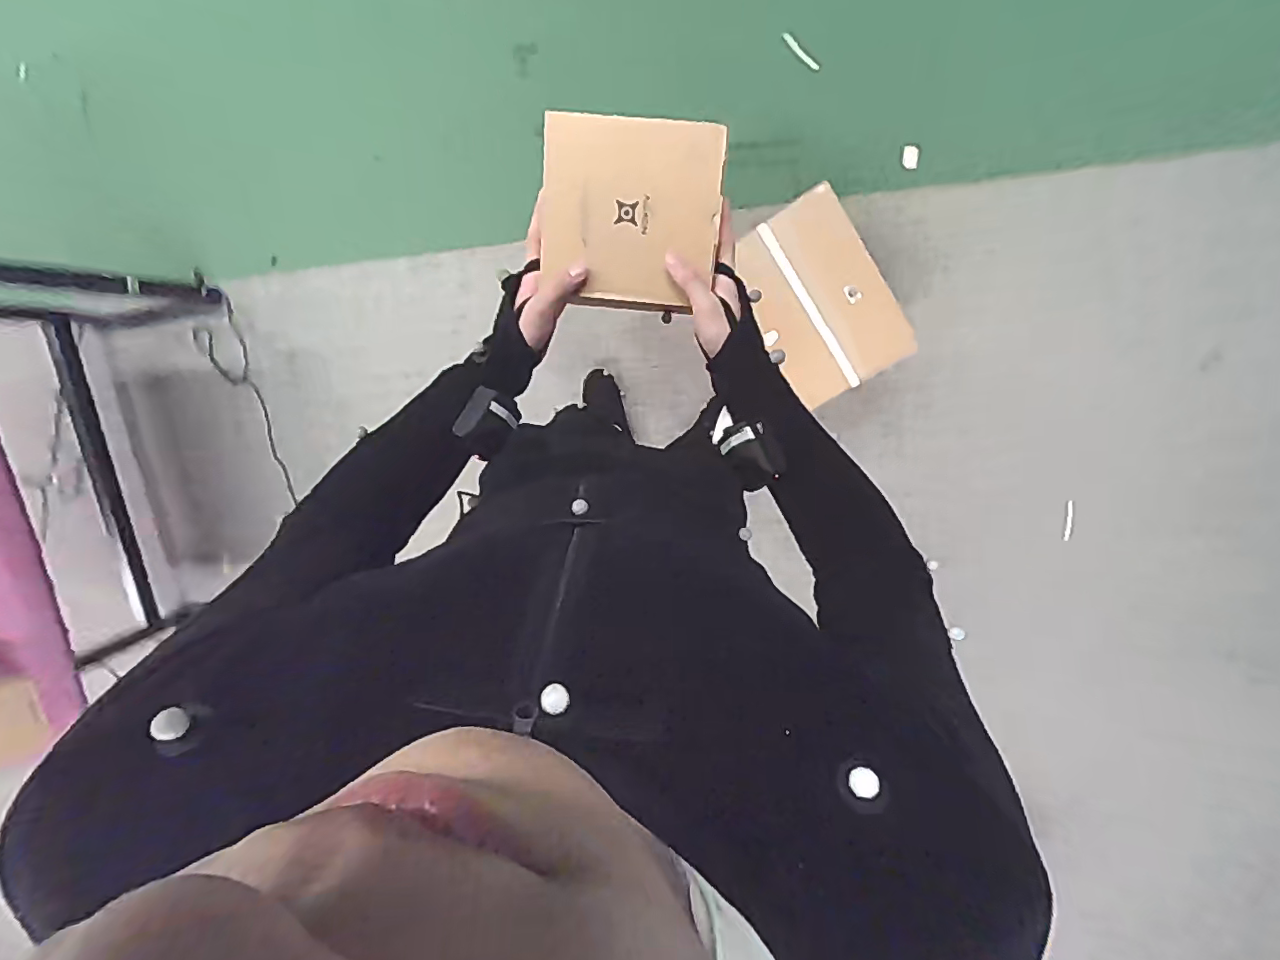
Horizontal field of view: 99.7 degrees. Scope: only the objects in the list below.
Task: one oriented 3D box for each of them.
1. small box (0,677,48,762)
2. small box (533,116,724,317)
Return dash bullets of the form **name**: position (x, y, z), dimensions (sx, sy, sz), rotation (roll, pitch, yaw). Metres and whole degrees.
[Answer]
- **small box**: position (-1.503, 0.557, 1.205), dimensions (0.179, 0.176, 0.168), rotation (-4, 103, 13)
- **small box**: position (-0.011, -0.272, 0.597), dimensions (0.179, 0.176, 0.168), rotation (5, 105, 2)
